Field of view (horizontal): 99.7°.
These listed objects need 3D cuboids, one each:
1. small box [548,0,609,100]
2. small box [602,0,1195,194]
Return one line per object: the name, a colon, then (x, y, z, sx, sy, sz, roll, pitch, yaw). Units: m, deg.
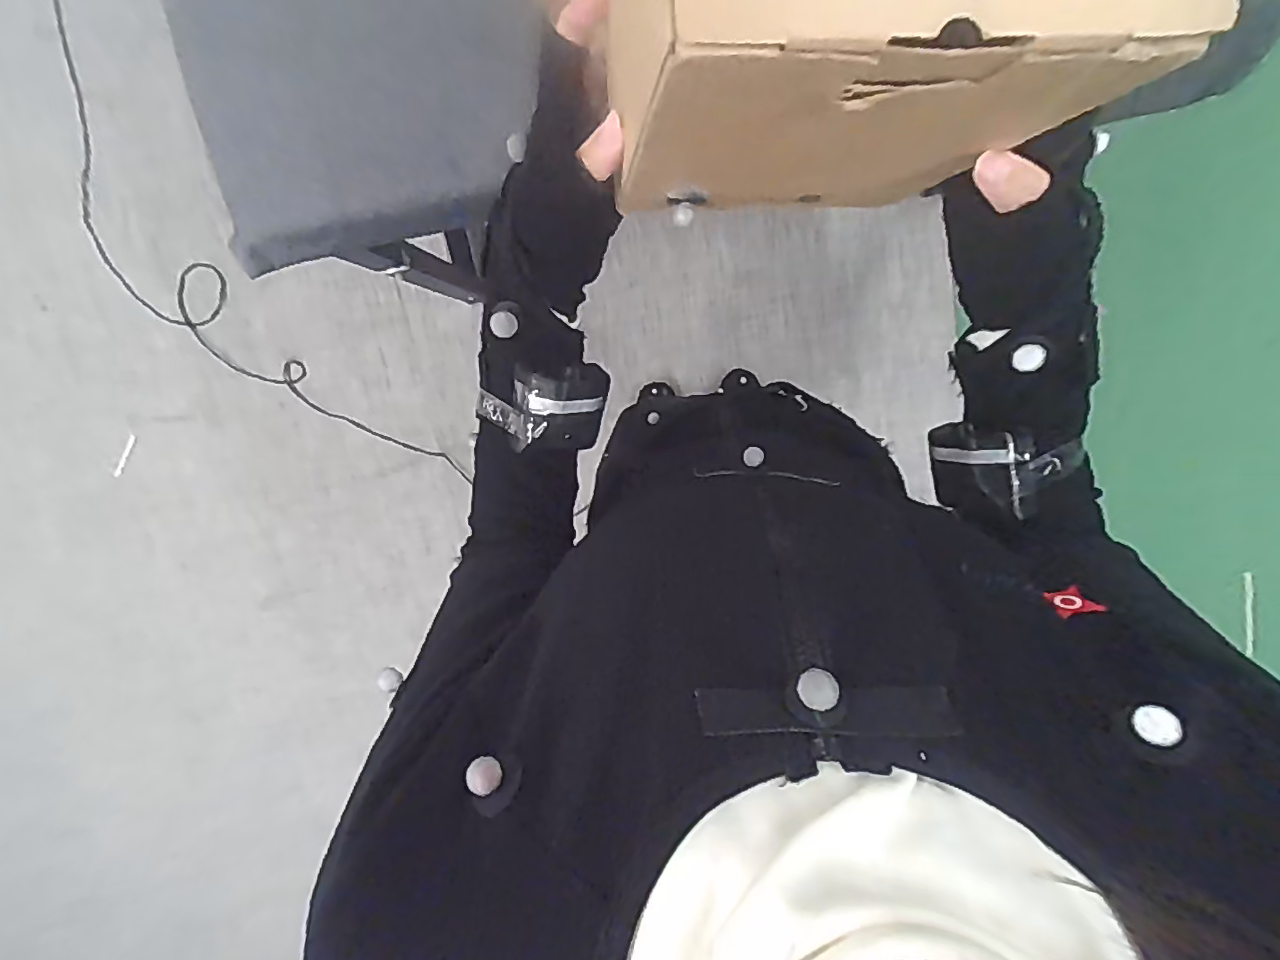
small box: (-0.001, -0.506, 0.524, 0.179, 0.176, 0.168, -7, 99, 5)
small box: (0.072, -0.229, 0.217, 0.168, 0.176, 0.179, -5, 102, -6)
